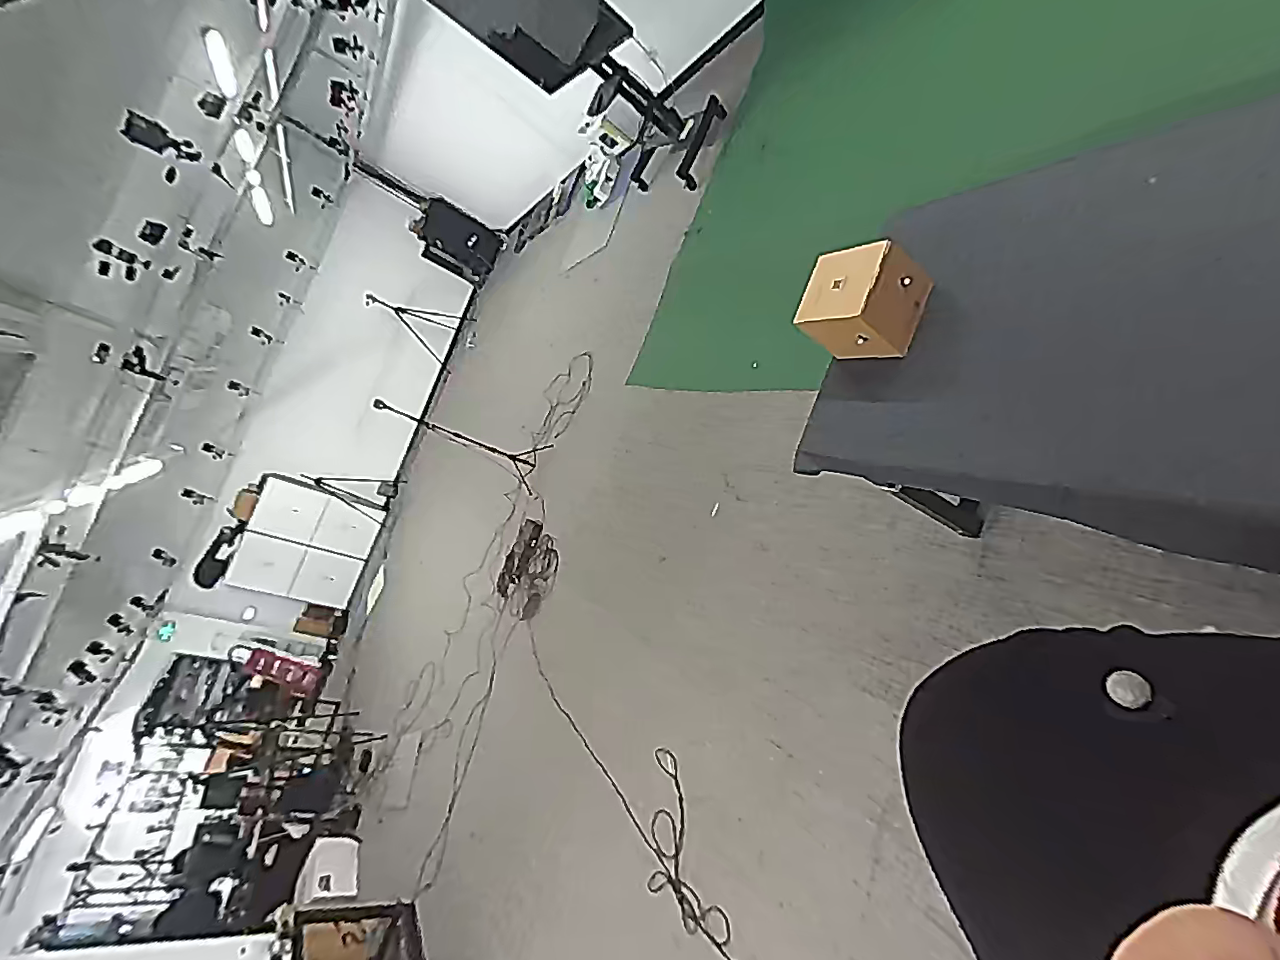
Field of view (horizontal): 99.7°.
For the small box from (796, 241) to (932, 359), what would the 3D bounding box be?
[{"bbox_3d":[0.472,-0.367,1.134,0.179,0.176,0.168,22,86,59],"label":"small box"}]
